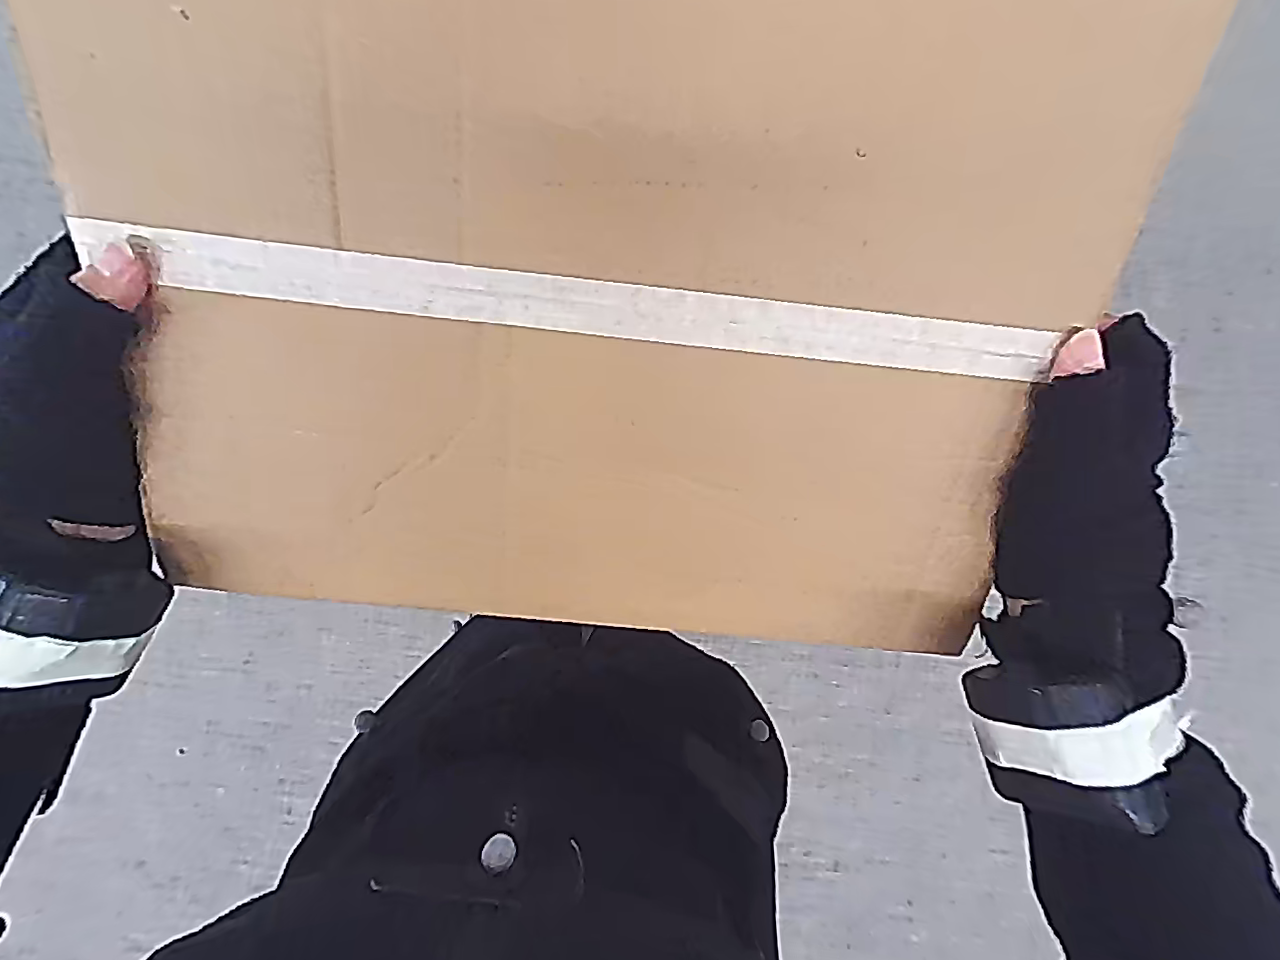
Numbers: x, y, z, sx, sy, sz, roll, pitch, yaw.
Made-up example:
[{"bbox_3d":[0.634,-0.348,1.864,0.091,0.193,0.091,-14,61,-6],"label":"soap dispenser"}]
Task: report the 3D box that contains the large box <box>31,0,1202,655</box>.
[{"bbox_3d":[-0.018,-0.116,0.367,0.408,0.320,0.320,6,112,-3],"label":"large box"}]
